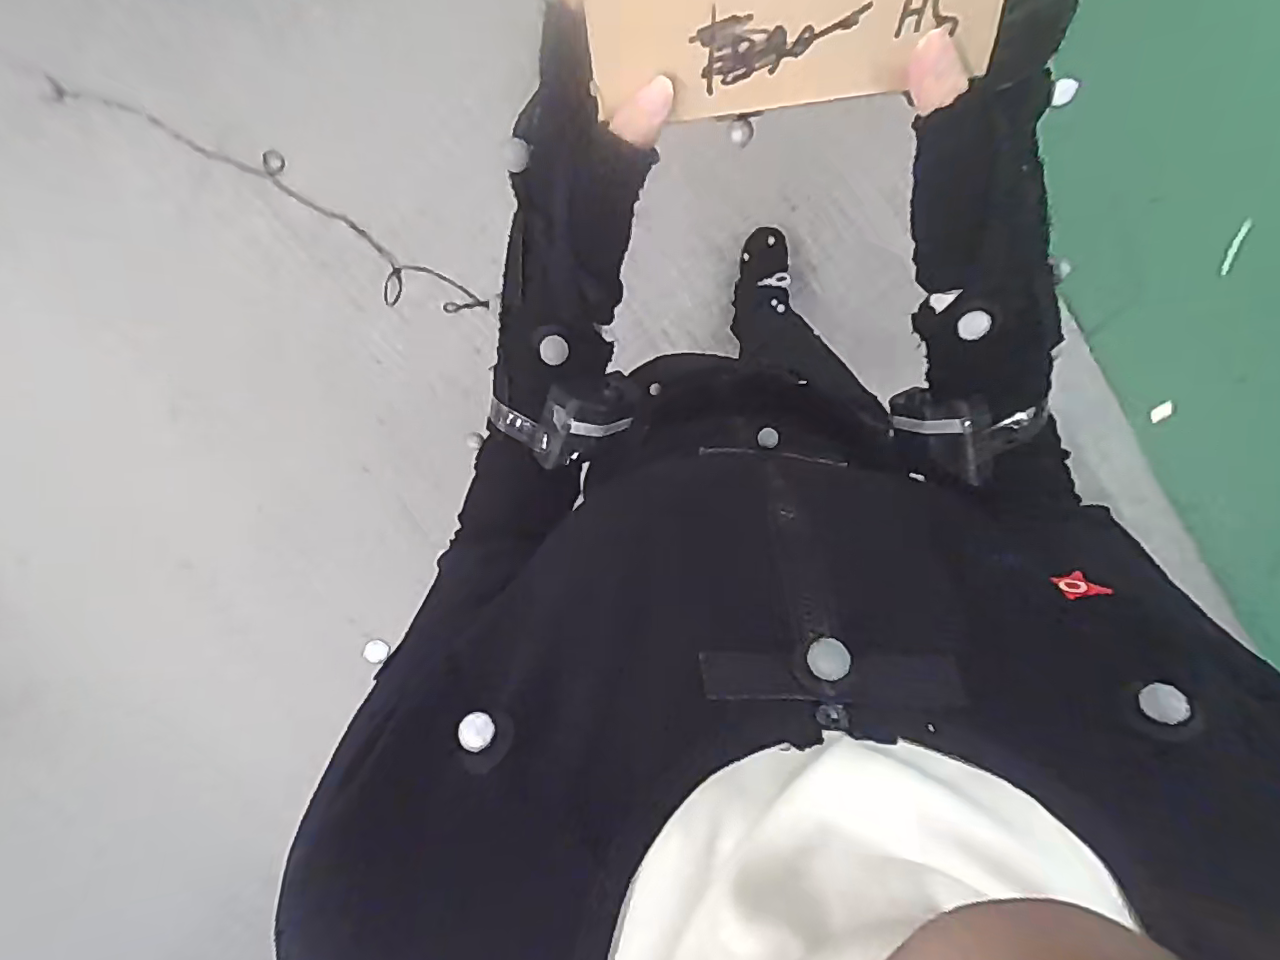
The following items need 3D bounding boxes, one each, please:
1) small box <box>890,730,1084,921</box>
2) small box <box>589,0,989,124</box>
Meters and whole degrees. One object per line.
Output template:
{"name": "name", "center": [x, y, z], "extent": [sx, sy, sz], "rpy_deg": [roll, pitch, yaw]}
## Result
{"name": "small box", "center": [0.545, 0.546, 0.874], "extent": [0.179, 0.176, 0.168], "rpy_deg": [-34, 102, 13]}
{"name": "small box", "center": [0.052, -0.288, 0.258], "extent": [0.168, 0.176, 0.179], "rpy_deg": [-8, 125, 6]}
